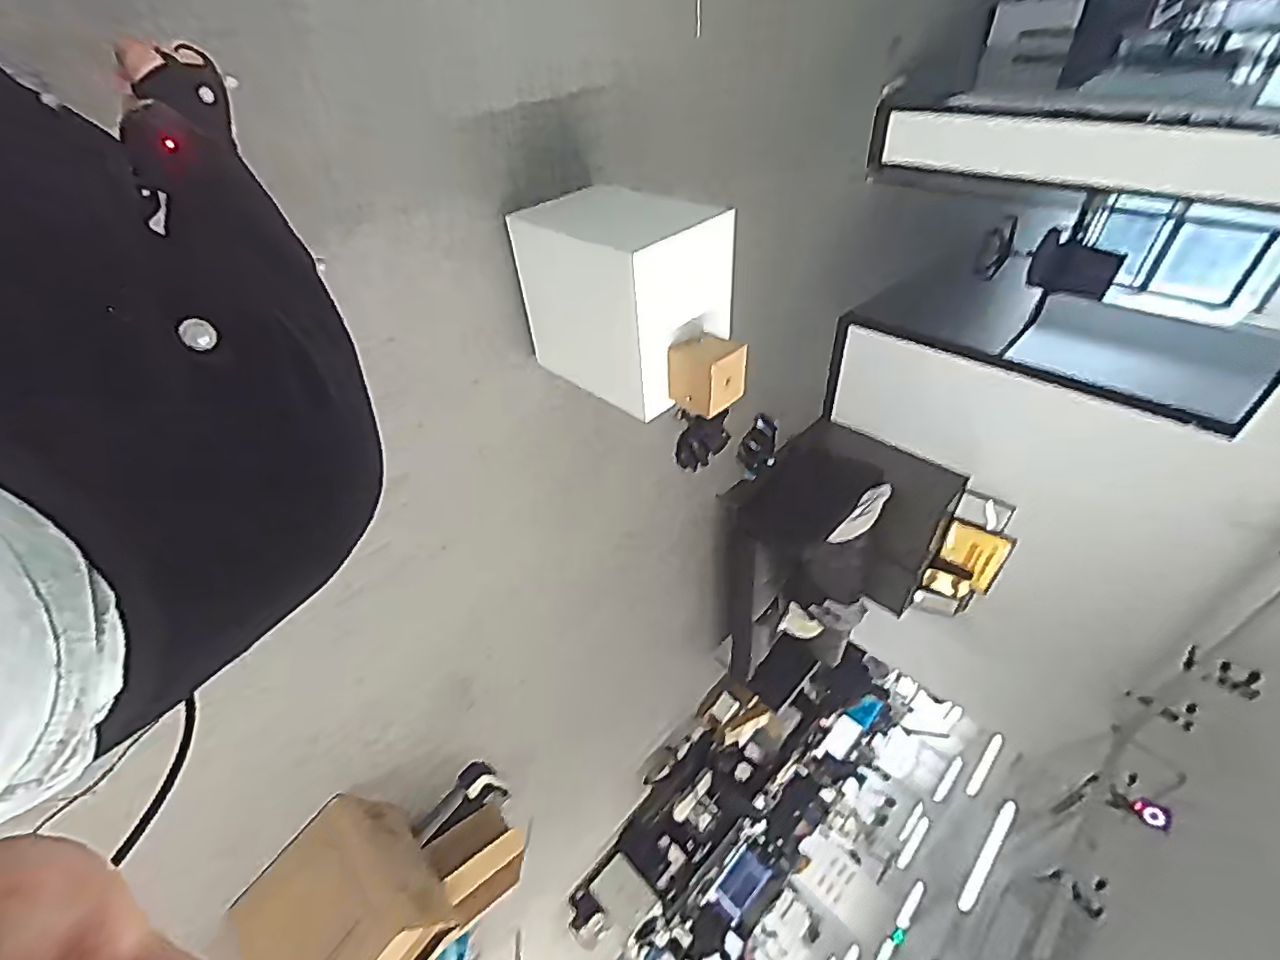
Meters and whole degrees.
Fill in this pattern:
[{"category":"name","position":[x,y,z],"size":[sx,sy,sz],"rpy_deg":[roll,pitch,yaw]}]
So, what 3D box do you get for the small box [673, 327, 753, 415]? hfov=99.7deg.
[{"category":"small box","position":[0.214,-0.326,1.600],"size":[0.168,0.176,0.179],"rpy_deg":[-37,139,-30]}]
